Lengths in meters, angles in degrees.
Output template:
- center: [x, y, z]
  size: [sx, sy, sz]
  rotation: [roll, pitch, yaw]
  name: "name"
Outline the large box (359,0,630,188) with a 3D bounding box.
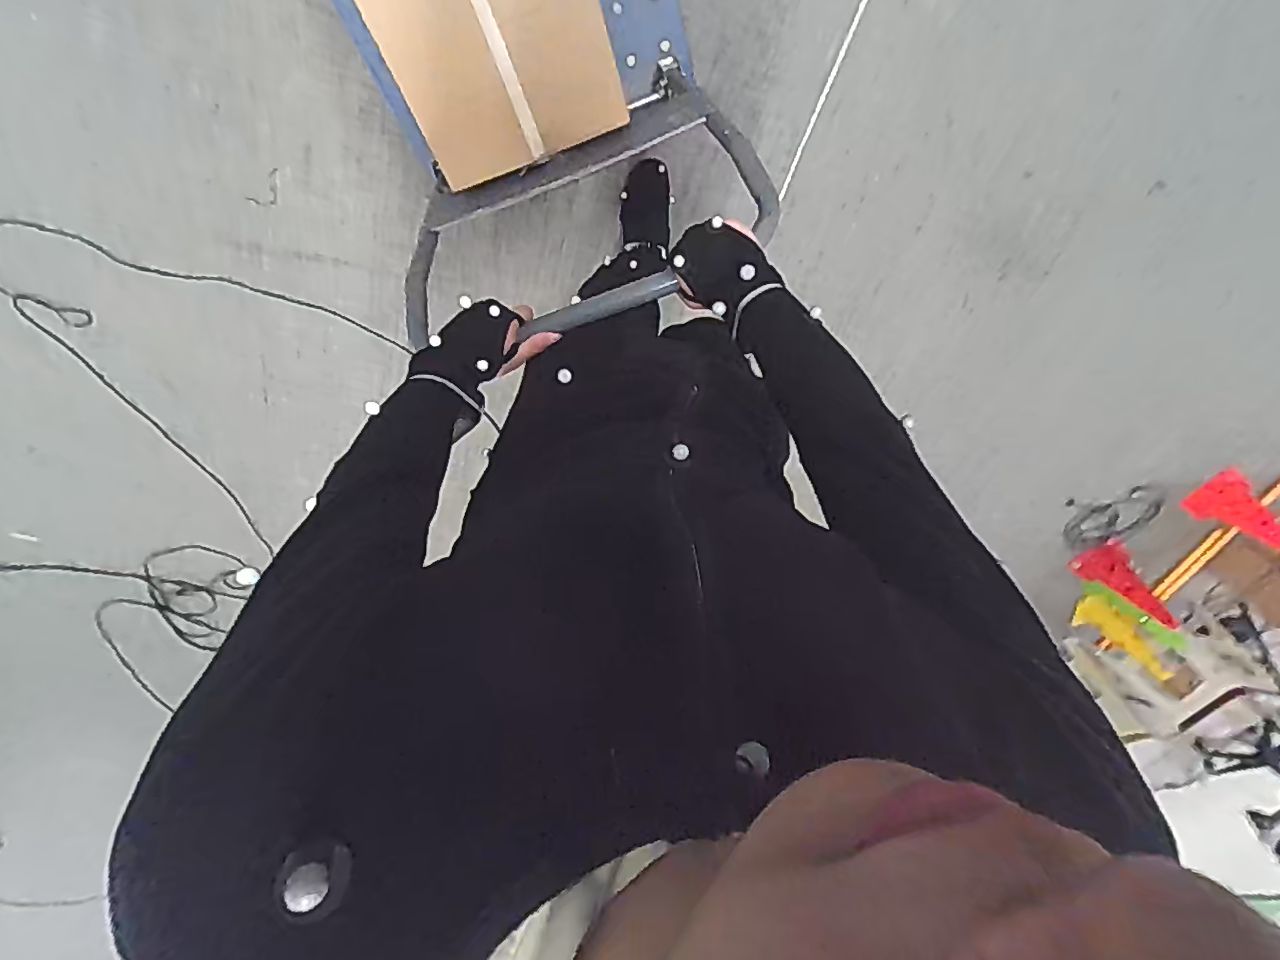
- center: [-0.235, -0.756, 0.849]
  size: [0.320, 0.320, 0.408]
  rotation: [-18, 132, 7]
  name: "large box"
